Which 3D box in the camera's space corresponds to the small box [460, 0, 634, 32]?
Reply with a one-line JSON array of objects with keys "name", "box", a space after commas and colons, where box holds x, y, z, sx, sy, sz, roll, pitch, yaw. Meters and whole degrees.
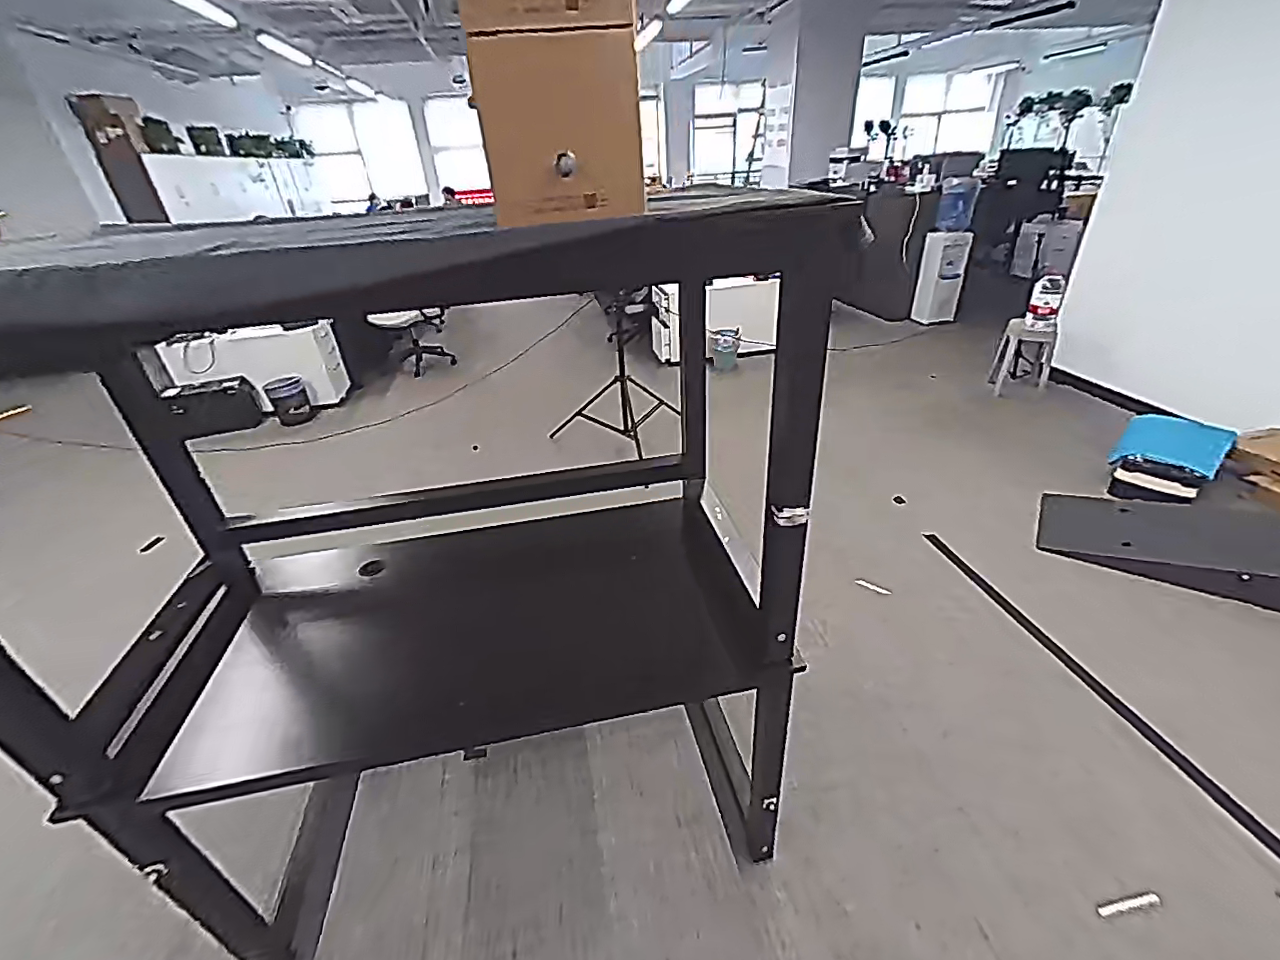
[{"name": "small box", "box": [-0.102, -0.537, 0.542, 0.168, 0.176, 0.179, -8, 30, -6]}]

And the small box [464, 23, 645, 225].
[{"name": "small box", "box": [-0.091, -0.394, 0.623, 0.168, 0.176, 0.179, -9, 30, -6]}]
